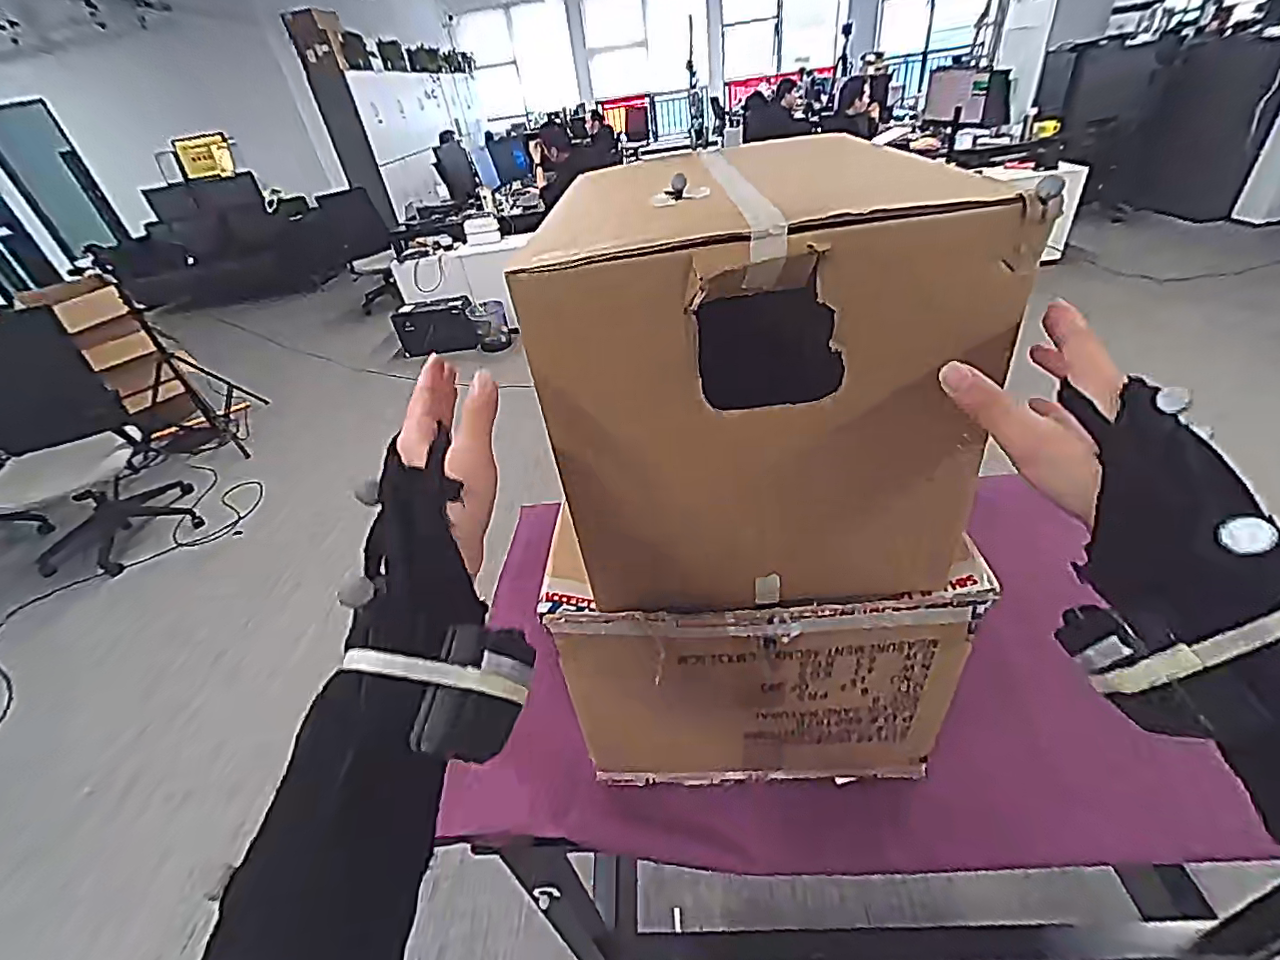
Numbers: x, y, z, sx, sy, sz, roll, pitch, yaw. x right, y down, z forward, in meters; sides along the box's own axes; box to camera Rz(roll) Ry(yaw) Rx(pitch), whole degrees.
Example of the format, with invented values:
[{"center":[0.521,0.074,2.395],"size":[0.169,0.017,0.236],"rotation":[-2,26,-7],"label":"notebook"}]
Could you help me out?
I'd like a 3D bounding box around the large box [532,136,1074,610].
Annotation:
[{"center":[0.103,-0.132,0.549],"size":[0.320,0.320,0.408],"rotation":[-7,37,5],"label":"large box"}]
